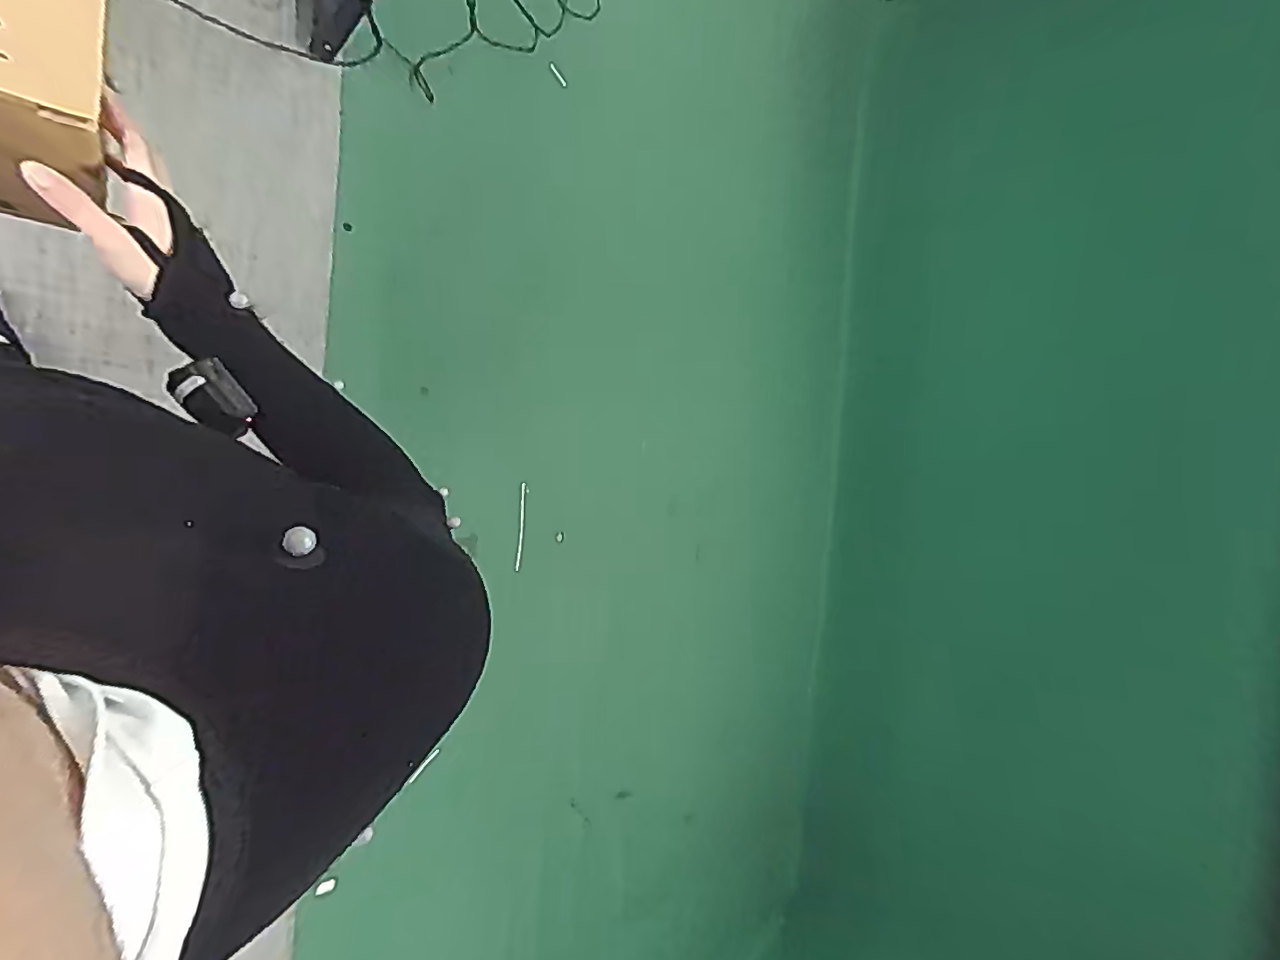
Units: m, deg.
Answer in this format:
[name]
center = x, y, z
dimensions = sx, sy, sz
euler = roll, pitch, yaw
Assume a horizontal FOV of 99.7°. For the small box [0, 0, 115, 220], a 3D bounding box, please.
[small box]
center = -0.518, -0.336, 0.409
dimensions = 0.168, 0.176, 0.179
euler = 2, 80, -43
